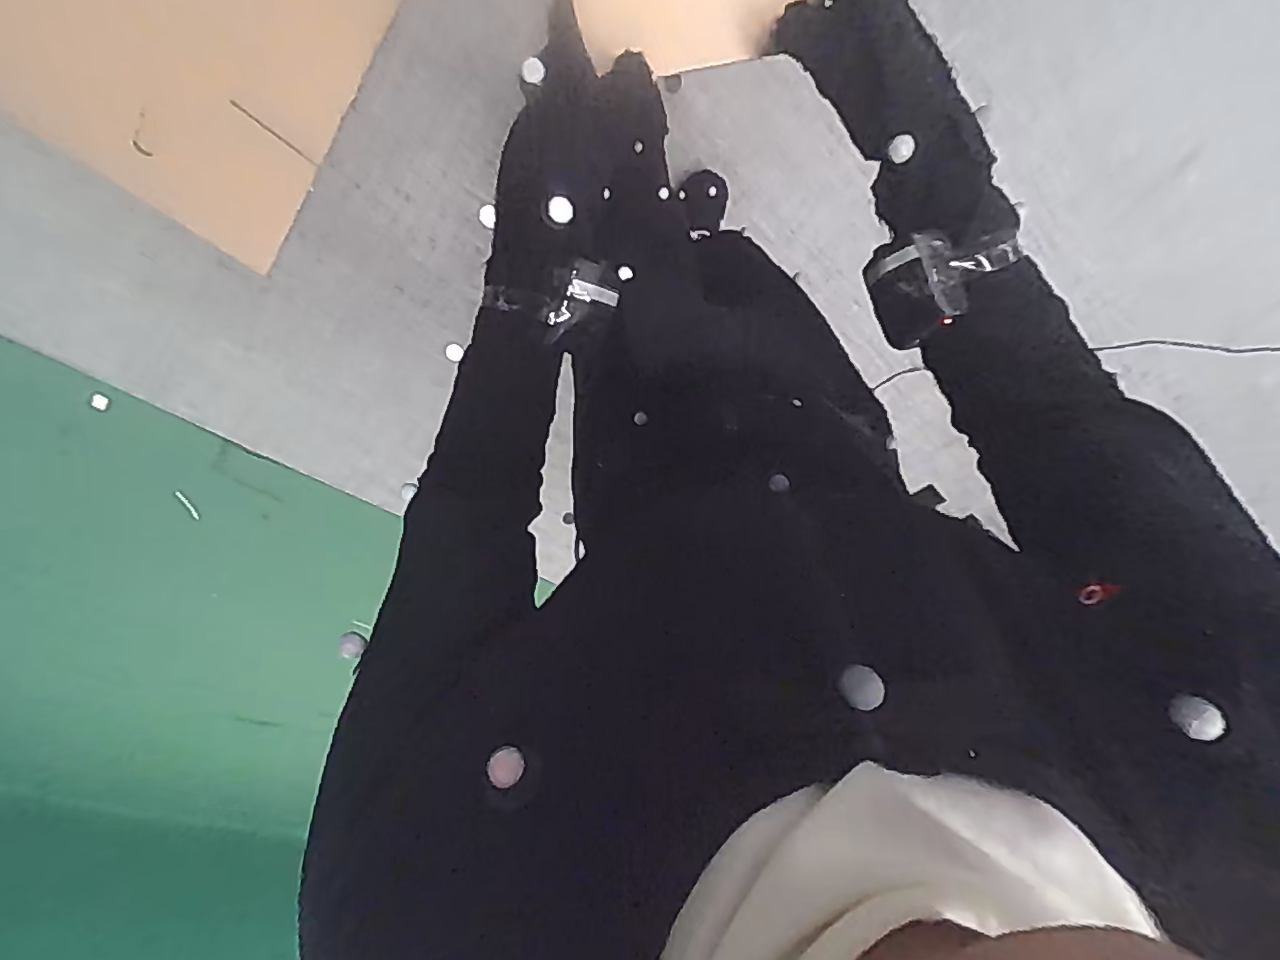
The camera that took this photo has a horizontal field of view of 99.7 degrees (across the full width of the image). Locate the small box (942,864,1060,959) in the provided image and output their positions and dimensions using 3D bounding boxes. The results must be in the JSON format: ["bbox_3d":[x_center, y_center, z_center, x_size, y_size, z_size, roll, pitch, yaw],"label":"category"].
[{"bbox_3d":[0.943,1.136,1.428,0.179,0.176,0.168,29,125,-25],"label":"small box"}]

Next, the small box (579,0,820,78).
[{"bbox_3d":[0.029,-0.417,0.395,0.168,0.176,0.179,-9,129,5],"label":"small box"}]
